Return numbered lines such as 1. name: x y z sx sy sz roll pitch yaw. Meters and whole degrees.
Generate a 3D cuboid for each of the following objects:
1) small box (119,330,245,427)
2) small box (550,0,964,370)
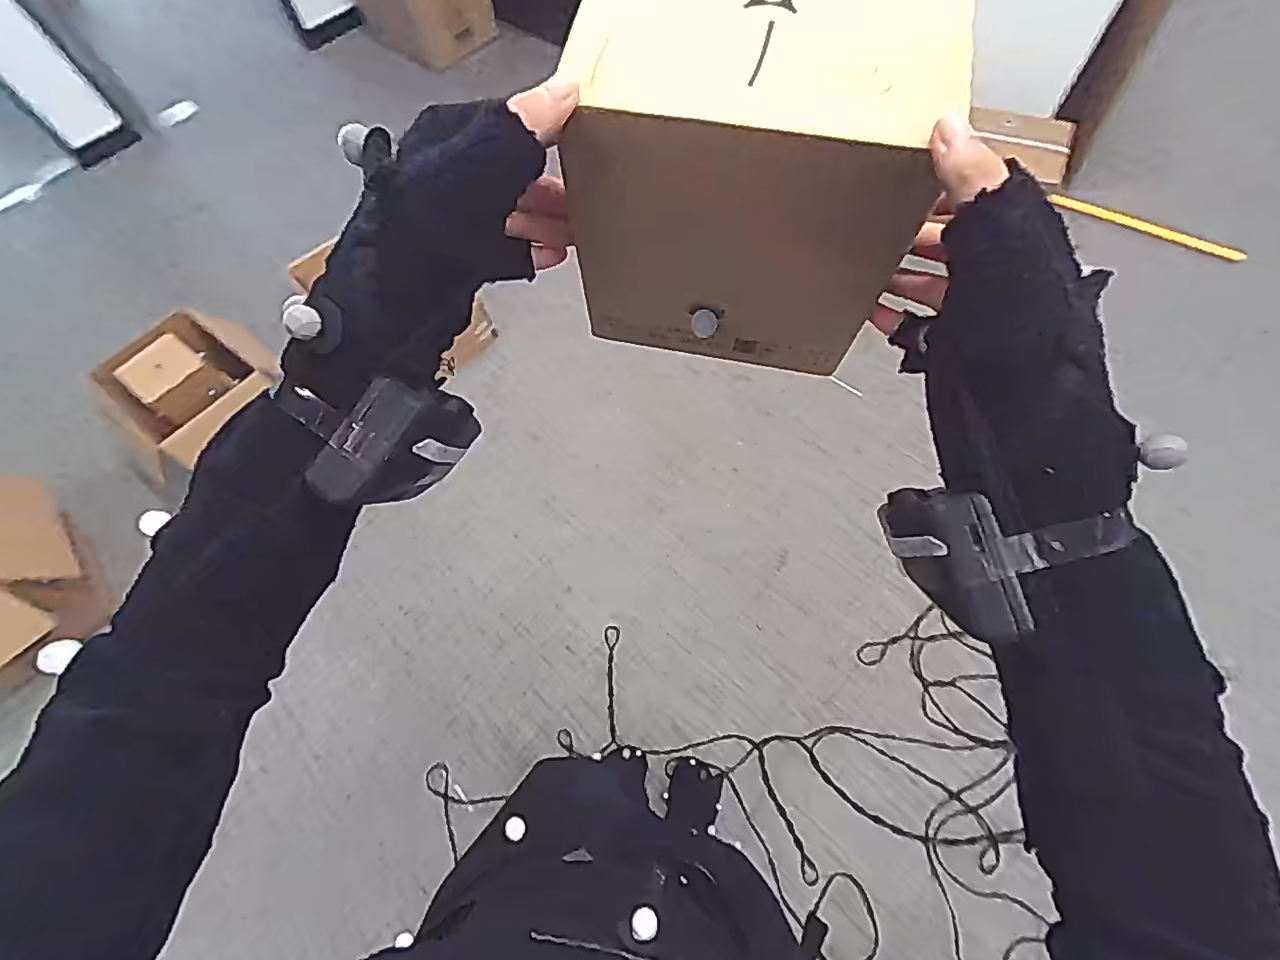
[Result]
1. small box: -1.260 -0.272 1.502 0.179 0.176 0.168 35 70 17
2. small box: 0.061 -0.192 0.315 0.168 0.176 0.179 11 73 6
